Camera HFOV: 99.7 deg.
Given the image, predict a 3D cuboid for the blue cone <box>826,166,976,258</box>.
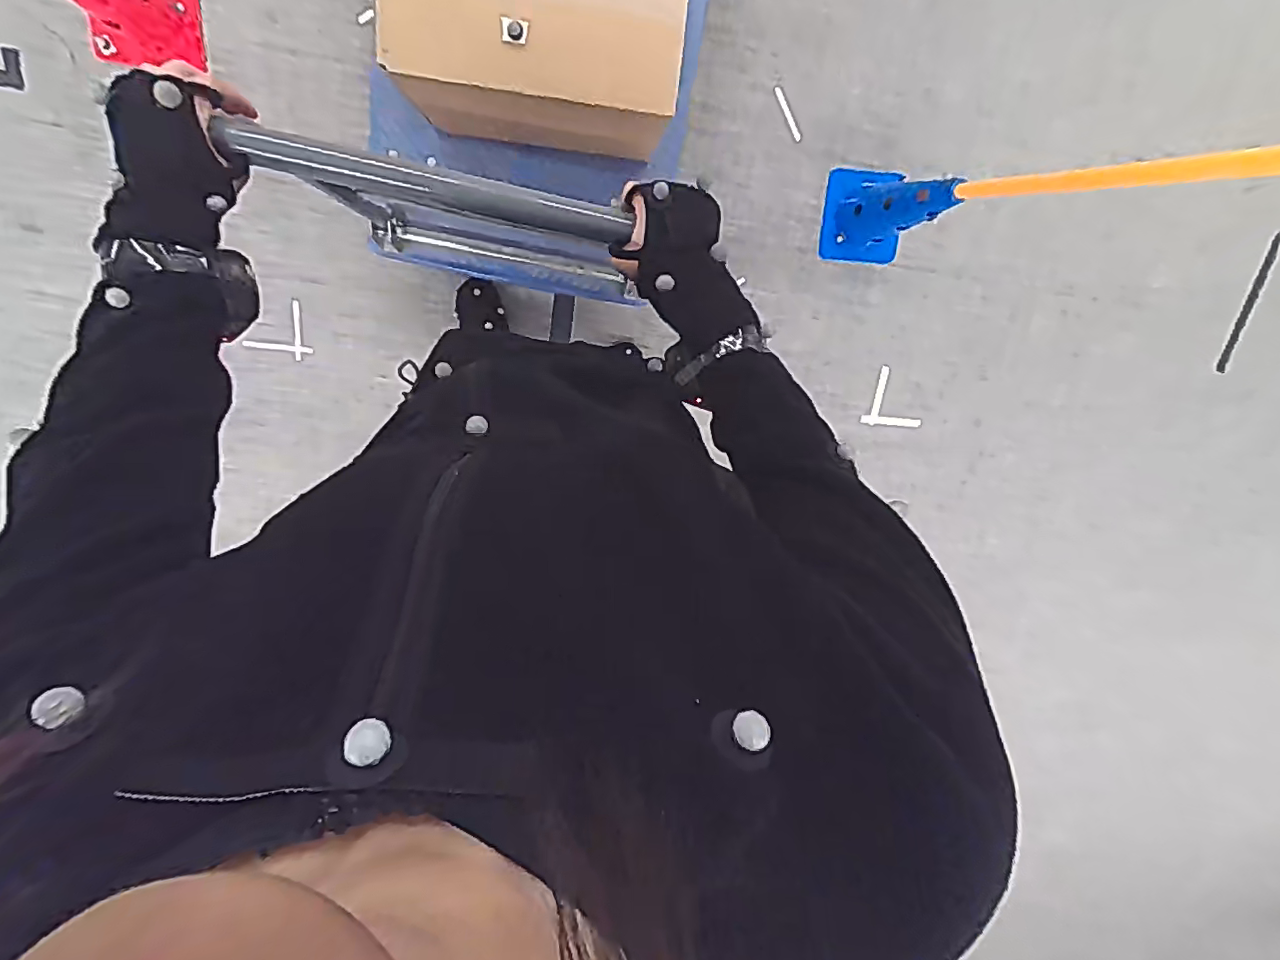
[{"bbox_3d":[0.561,-0.587,1.140,0.193,0.380,0.192,2,107,-8],"label":"blue cone"}]
